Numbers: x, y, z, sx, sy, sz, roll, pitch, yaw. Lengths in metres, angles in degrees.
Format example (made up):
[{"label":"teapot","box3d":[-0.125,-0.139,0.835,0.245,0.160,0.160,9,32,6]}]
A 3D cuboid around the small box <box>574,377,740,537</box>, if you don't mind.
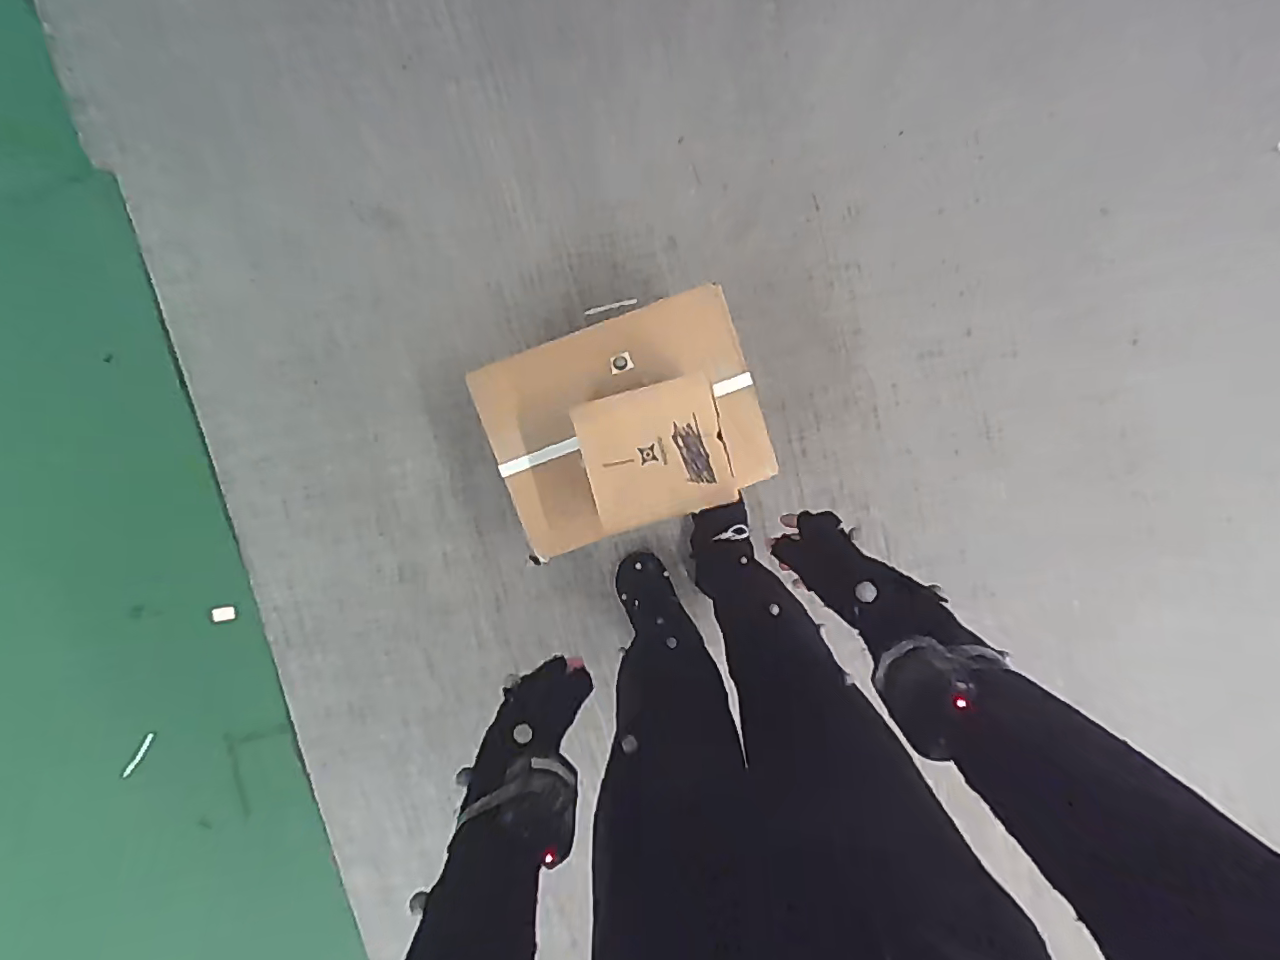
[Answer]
[{"label":"small box","box3d":[0.020,-0.038,0.738,0.179,0.176,0.168,-15,96,2]}]
